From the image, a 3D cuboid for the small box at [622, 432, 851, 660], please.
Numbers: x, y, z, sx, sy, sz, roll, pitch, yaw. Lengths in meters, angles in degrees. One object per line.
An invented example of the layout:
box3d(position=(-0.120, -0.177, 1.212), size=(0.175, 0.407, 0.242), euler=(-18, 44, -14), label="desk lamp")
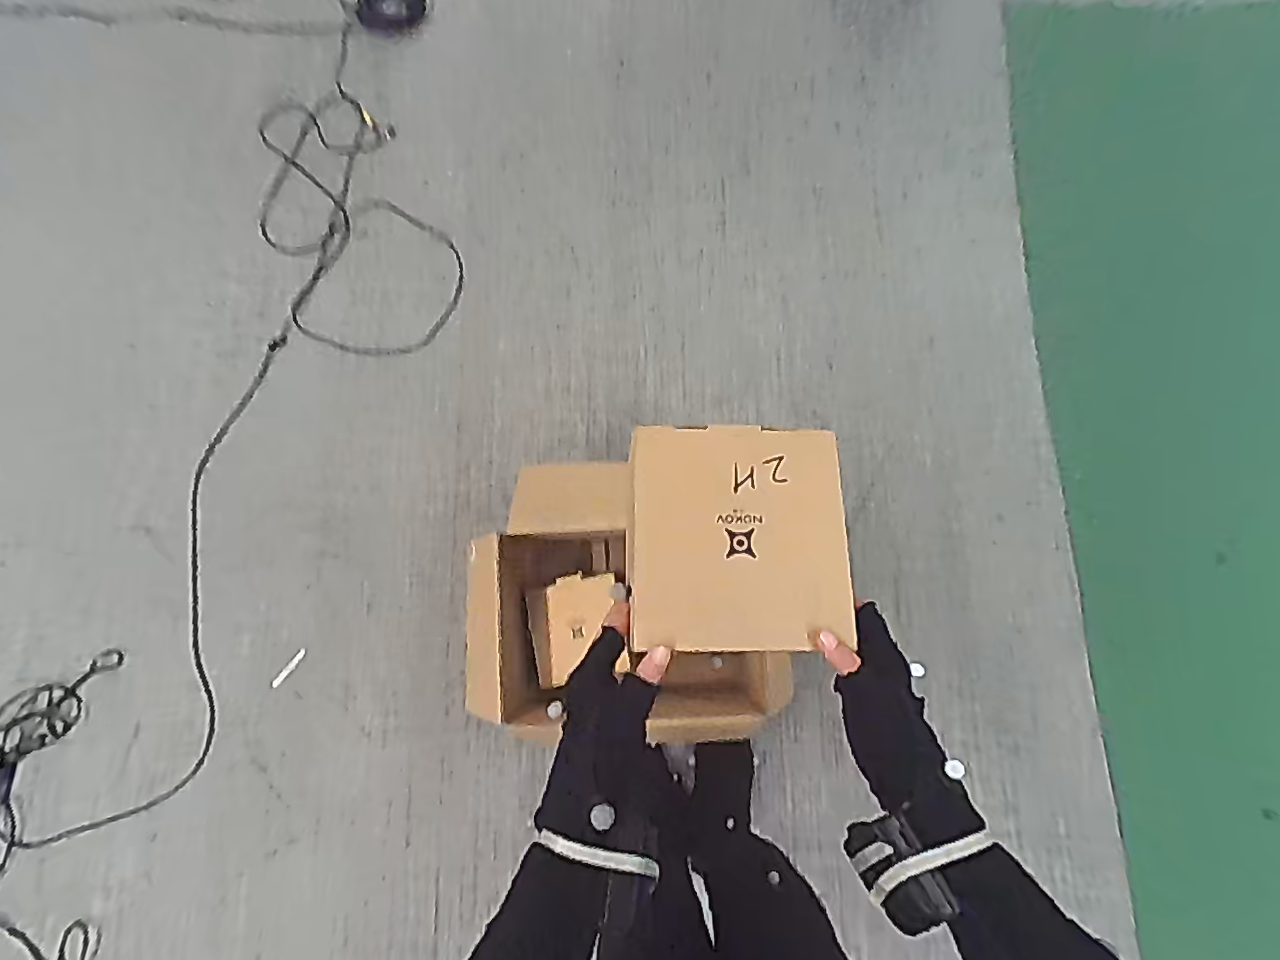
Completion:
box3d(position=(0.070, 0.067, 0.491), size=(0.168, 0.176, 0.179), euler=(1, 73, -4), label="small box")
